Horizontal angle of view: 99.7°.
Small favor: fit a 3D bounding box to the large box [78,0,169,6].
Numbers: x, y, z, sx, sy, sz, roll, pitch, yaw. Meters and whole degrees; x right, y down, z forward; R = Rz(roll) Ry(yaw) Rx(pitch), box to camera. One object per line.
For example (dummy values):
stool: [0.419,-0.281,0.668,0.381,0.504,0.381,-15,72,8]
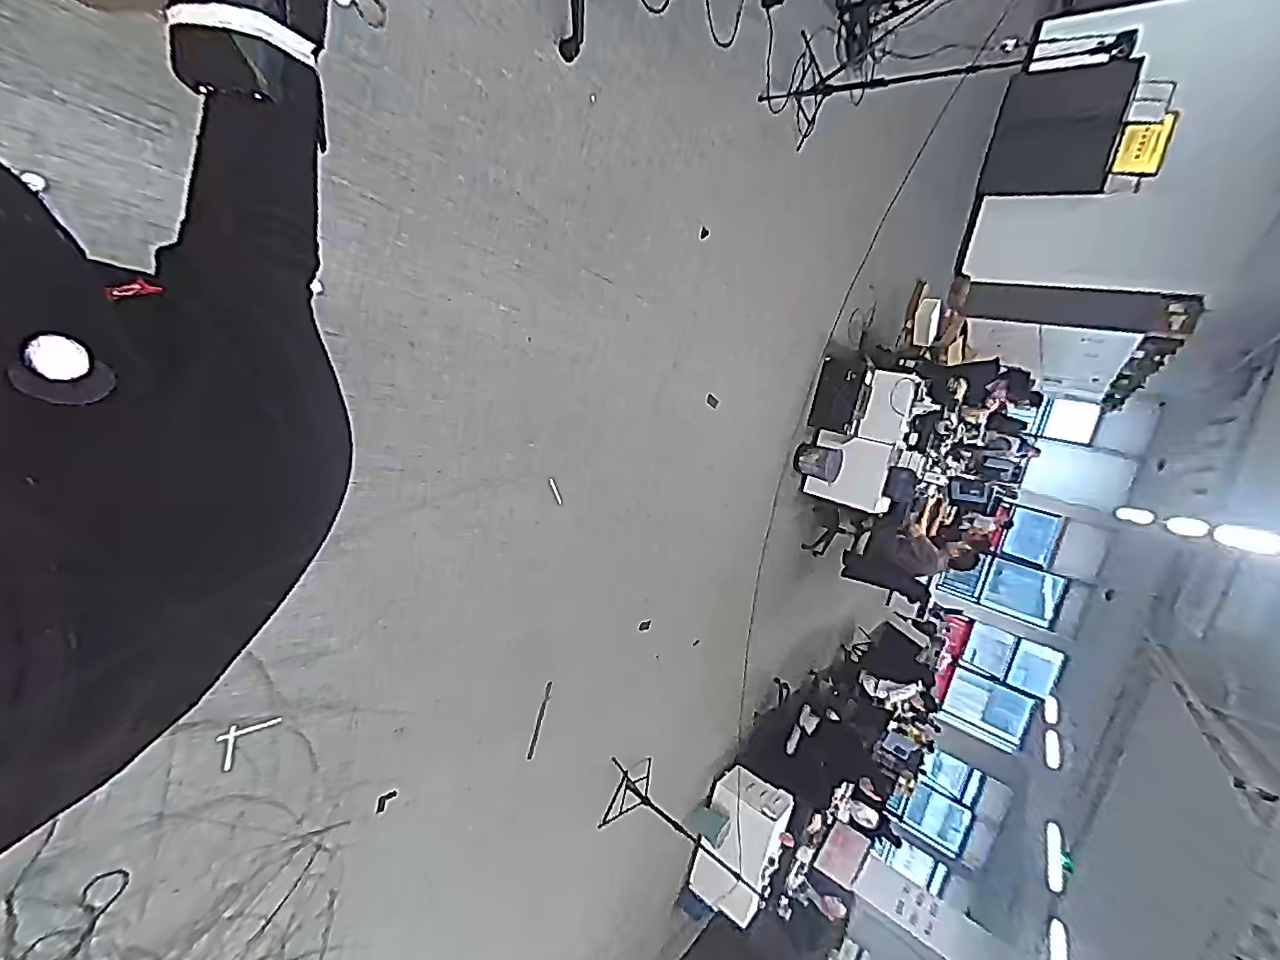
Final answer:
large box: [-0.464,-0.505,0.232,0.408,0.320,0.320,-6,121,-55]
